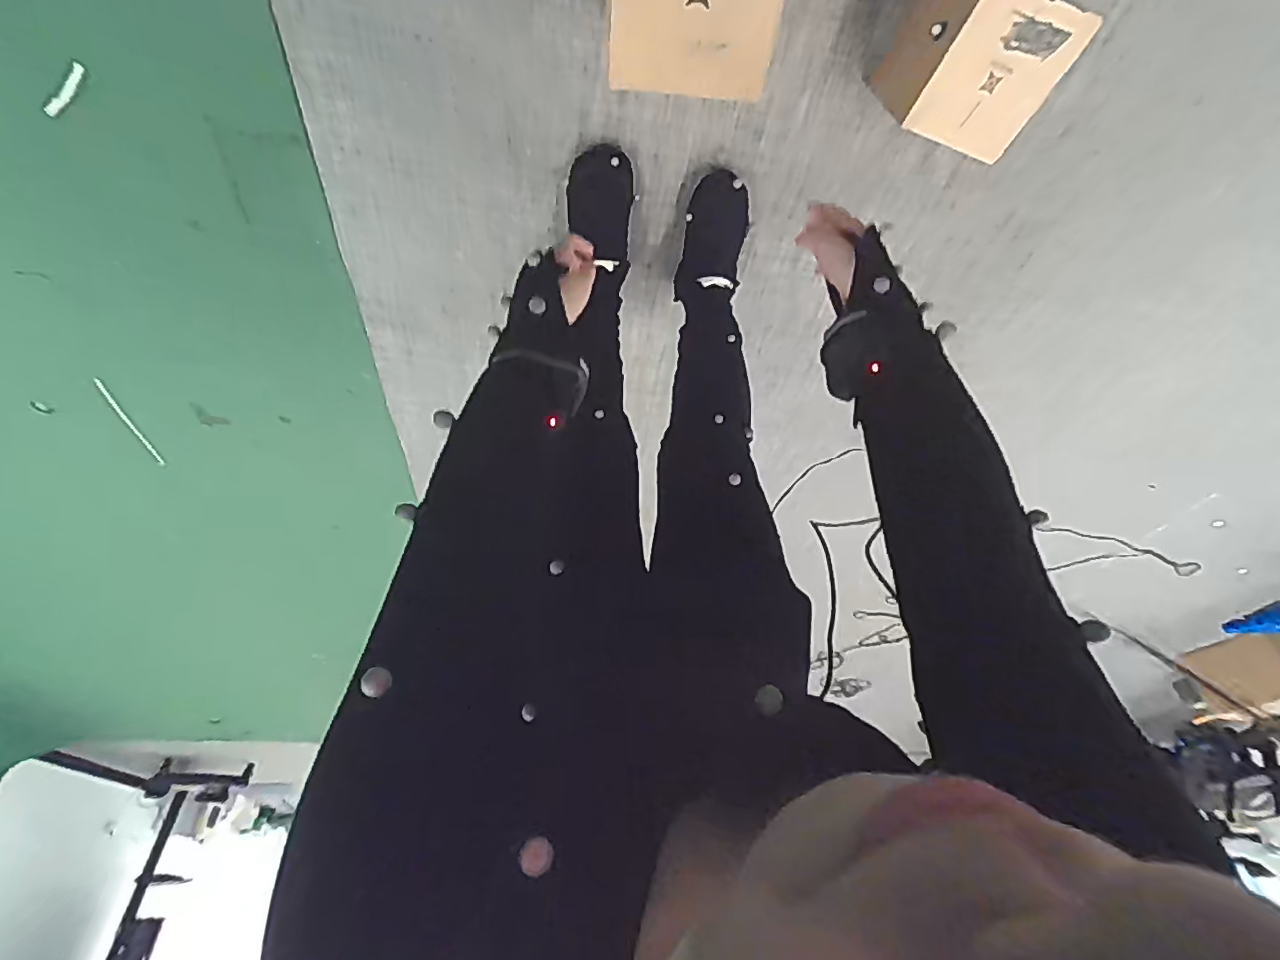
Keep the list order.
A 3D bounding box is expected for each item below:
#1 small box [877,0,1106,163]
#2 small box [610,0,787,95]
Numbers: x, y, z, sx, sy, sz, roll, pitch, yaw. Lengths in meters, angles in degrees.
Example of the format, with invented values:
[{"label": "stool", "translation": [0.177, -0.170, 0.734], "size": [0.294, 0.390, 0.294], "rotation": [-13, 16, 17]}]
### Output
[{"label": "small box", "translation": [0.459, -0.584, 0.742], "size": [0.168, 0.176, 0.179], "rotation": [11, 140, -15]}, {"label": "small box", "translation": [0.056, -0.523, 0.543], "size": [0.168, 0.176, 0.179], "rotation": [3, 141, -4]}]
